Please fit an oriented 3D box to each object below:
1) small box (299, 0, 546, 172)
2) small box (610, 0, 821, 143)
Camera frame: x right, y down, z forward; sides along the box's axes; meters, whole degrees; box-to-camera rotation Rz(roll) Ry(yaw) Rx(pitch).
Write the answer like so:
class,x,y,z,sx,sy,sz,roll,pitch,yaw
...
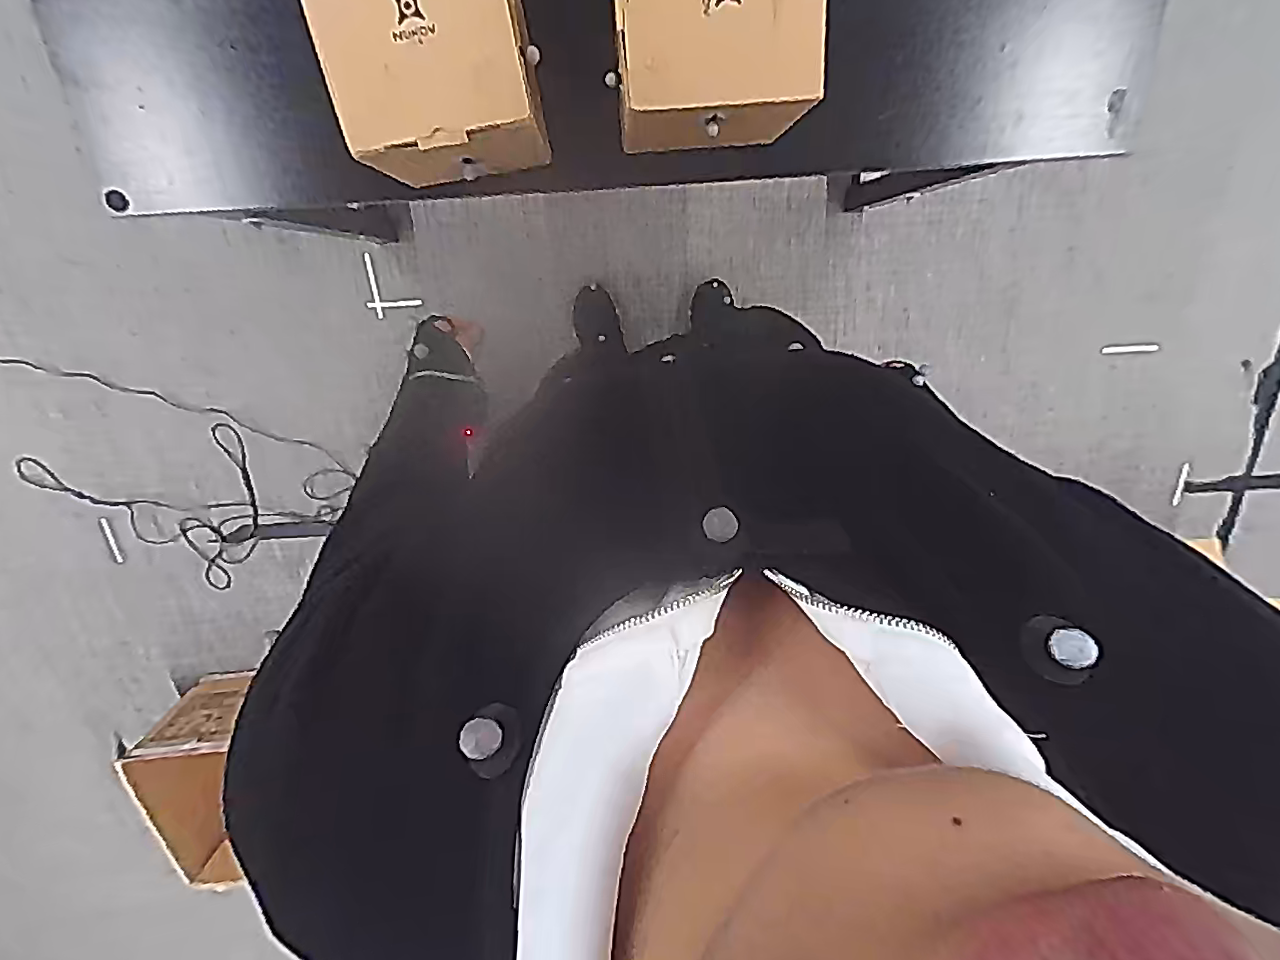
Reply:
class,x,y,z,sx,sy,sz,roll,pitch,yaw
small box,-0.195,-0.411,0.518,0.168,0.176,0.179,-10,110,1
small box,0.061,-0.440,0.521,0.179,0.176,0.168,-5,111,-1
